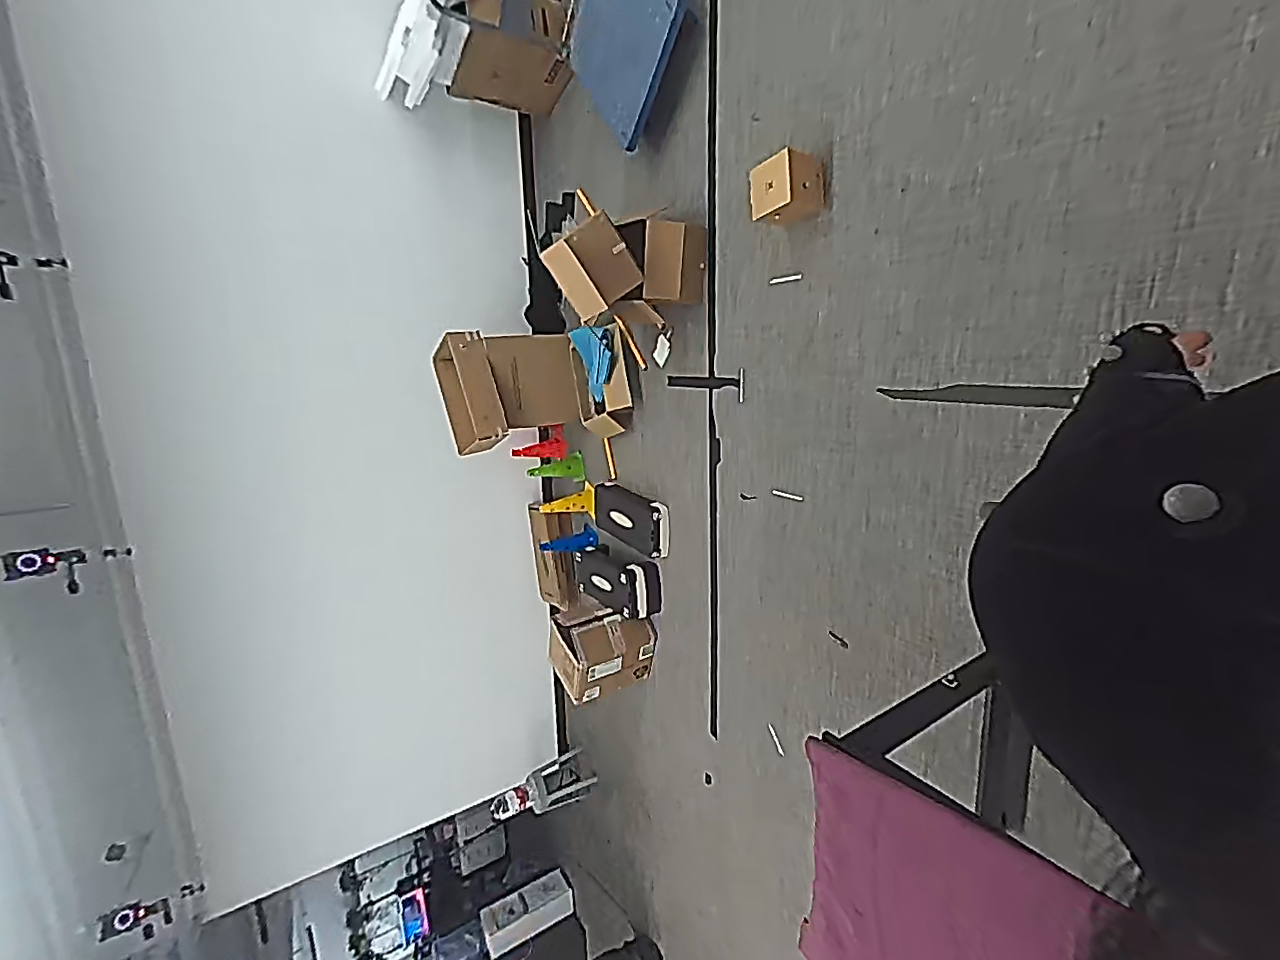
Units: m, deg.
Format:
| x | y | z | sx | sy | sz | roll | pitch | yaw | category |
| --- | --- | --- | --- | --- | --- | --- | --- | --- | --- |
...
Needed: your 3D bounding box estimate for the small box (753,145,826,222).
| x | y | z | sx | sy | sz | roll | pitch | yaw | category |
| --- | --- | --- | --- | --- | --- | --- | --- | --- | --- |
| 0.502 | -0.979 | 1.799 | 0.179 | 0.176 | 0.168 | 5 | 102 | 59 | small box |
